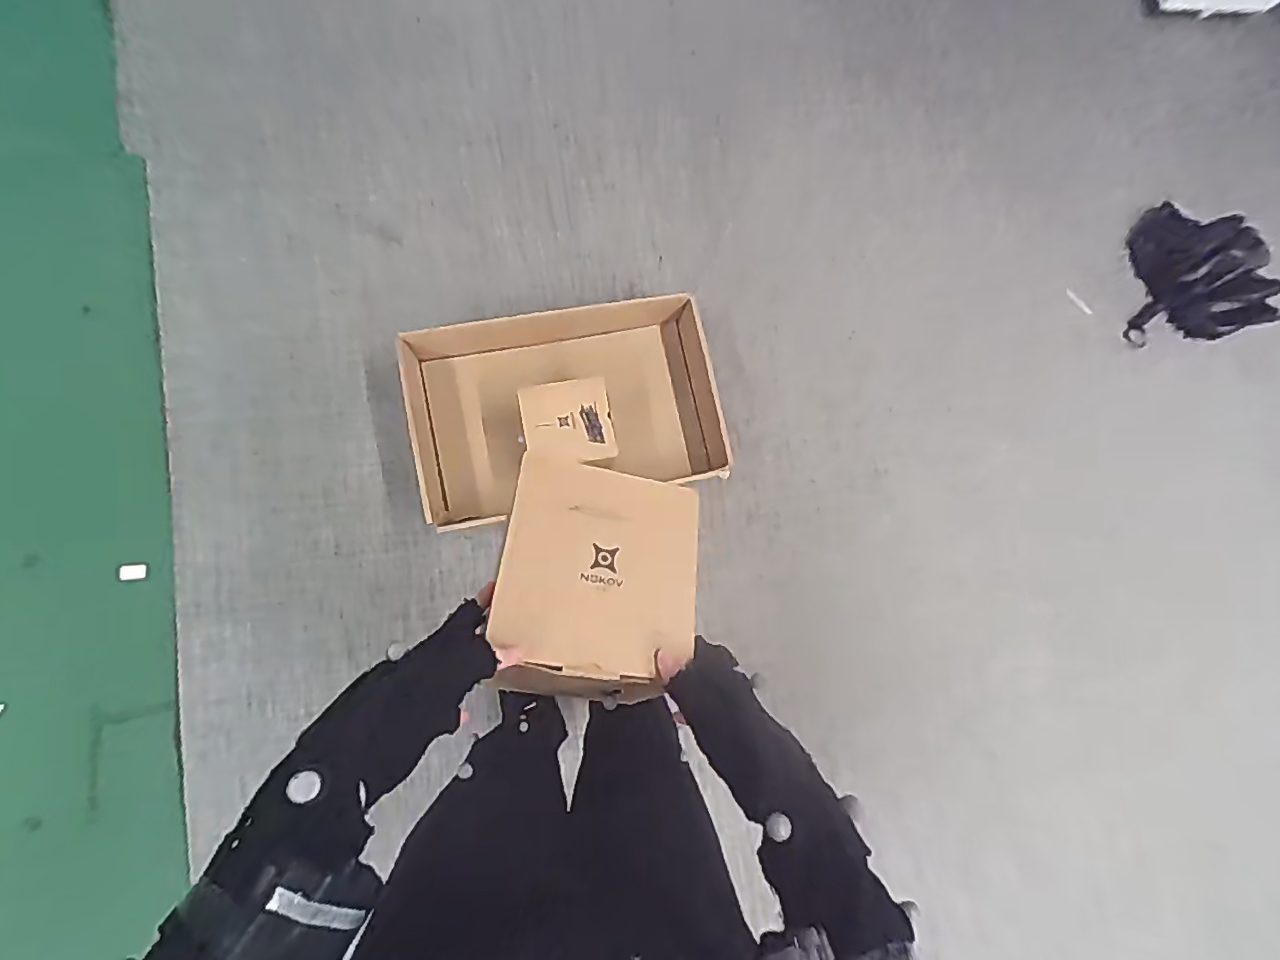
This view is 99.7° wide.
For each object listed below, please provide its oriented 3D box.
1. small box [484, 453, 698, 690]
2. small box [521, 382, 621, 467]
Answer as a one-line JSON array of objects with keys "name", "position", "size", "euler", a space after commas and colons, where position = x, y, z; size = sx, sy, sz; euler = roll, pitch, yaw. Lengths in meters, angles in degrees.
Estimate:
[{"name": "small box", "position": [-0.052, 0.099, 0.511], "size": [0.168, 0.176, 0.179], "euler": [8, 63, -15]}, {"name": "small box", "position": [-0.145, -0.095, 1.141], "size": [0.179, 0.176, 0.168], "euler": [-10, 84, -7]}]
